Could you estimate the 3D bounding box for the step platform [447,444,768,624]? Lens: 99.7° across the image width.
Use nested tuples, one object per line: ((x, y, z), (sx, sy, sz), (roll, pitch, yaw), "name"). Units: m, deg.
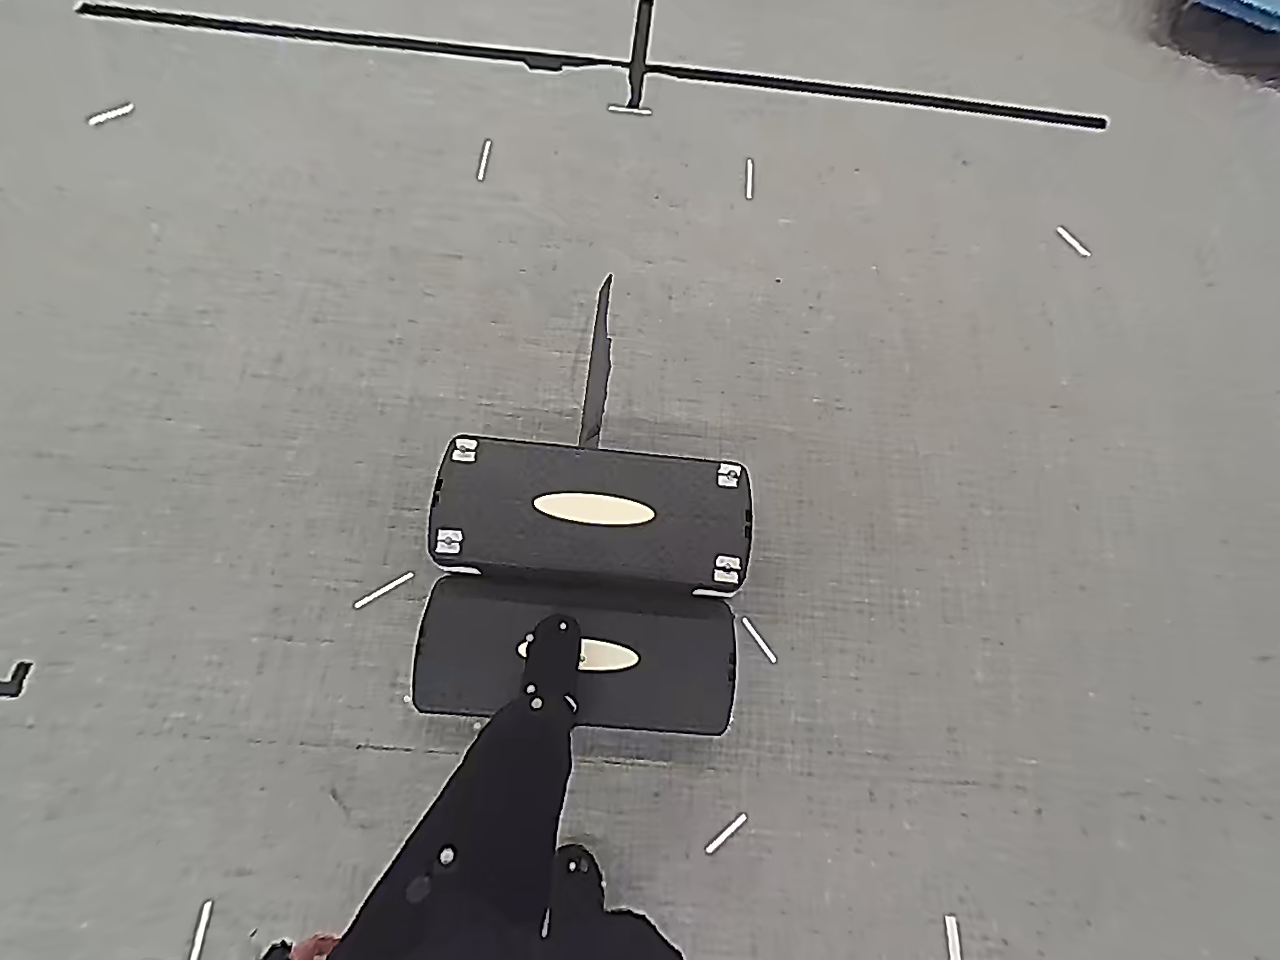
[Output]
((-0.064, 0.124, 1.207), (0.684, 0.204, 0.286), (10, 70, -1), "step platform")
